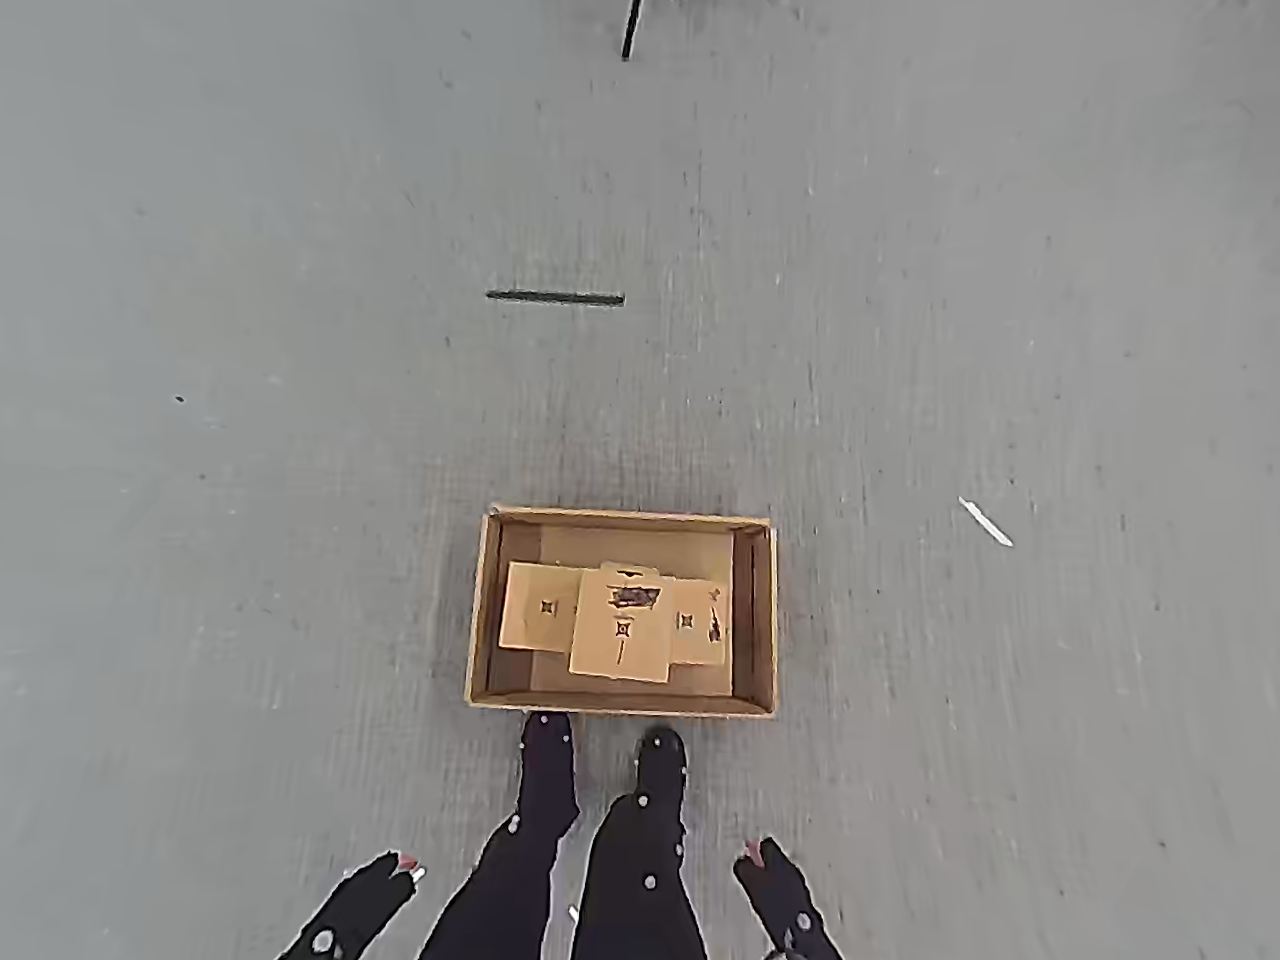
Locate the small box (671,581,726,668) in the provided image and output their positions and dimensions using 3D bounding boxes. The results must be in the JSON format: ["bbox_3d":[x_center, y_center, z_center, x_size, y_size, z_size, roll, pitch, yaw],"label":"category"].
[{"bbox_3d":[0.083,0.304,1.157,0.179,0.176,0.168,3,78,0],"label":"small box"}]

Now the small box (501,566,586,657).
[{"bbox_3d":[-0.182,0.277,1.147,0.179,0.176,0.168,6,77,-2],"label":"small box"}]

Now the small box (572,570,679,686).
[{"bbox_3d":[-0.028,0.266,0.990,0.168,0.176,0.179,7,77,-1],"label":"small box"}]
